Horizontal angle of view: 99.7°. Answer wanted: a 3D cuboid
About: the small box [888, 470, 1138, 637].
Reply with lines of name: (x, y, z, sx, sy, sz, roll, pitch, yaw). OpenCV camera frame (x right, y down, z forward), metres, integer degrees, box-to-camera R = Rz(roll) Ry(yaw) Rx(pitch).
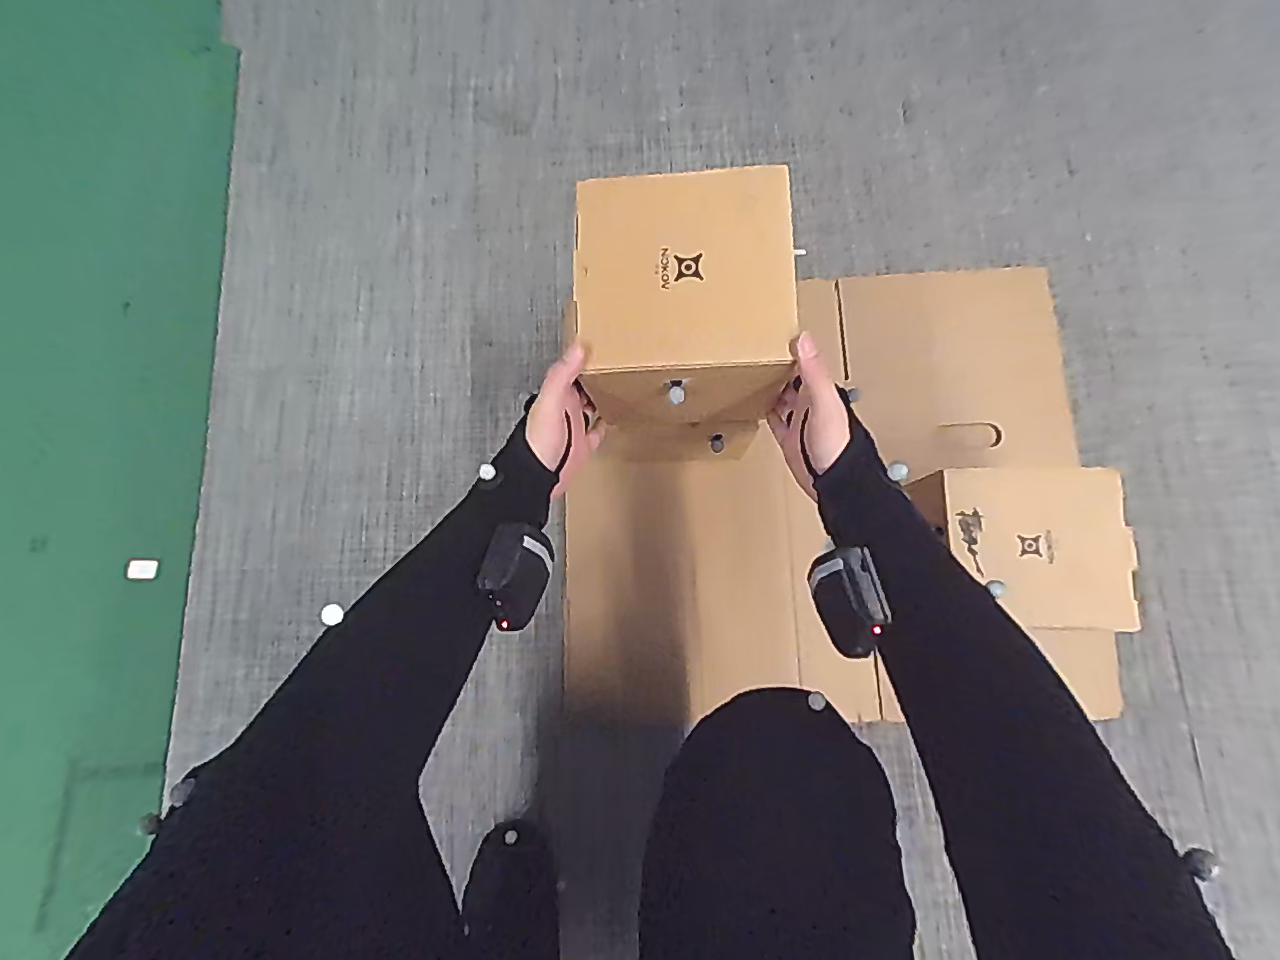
small box: (0.409, 0.084, 0.626, 0.179, 0.176, 0.168, 0, 80, 6)

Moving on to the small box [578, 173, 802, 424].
small box: (0.044, -0.152, 0.506, 0.179, 0.176, 0.168, -2, 82, 6)

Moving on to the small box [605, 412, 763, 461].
small box: (0.053, -0.120, 0.684, 0.179, 0.176, 0.168, -1, 81, 4)
